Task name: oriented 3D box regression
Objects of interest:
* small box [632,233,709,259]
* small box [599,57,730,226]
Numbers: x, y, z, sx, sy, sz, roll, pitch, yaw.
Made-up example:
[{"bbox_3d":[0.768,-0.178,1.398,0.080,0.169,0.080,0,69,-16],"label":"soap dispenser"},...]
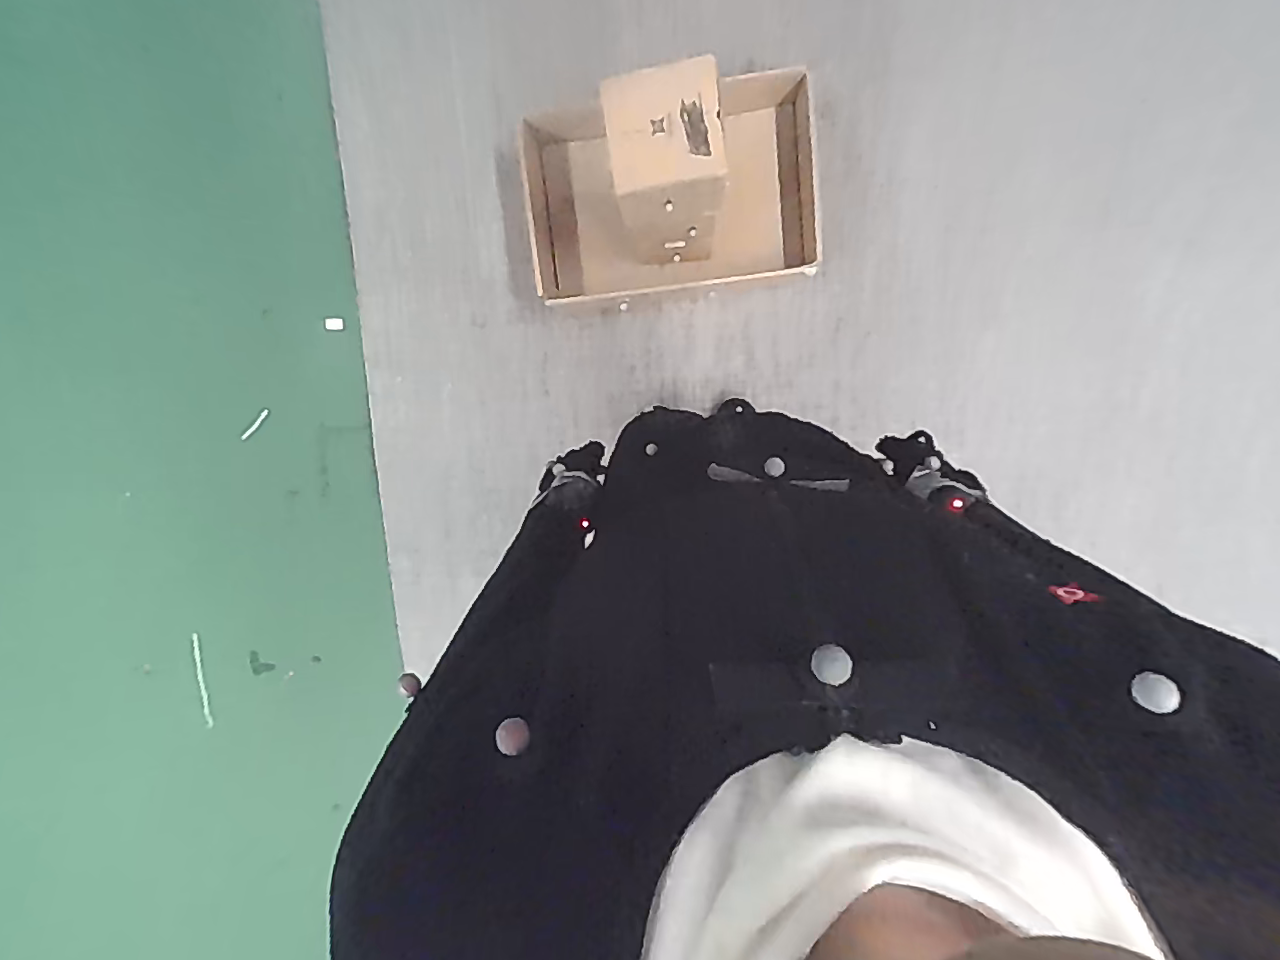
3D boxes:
[{"bbox_3d":[0.071,-0.602,1.210,0.168,0.176,0.179,-2,100,6],"label":"small box"},{"bbox_3d":[0.041,-0.542,0.891,0.179,0.176,0.168,-10,99,6],"label":"small box"}]
